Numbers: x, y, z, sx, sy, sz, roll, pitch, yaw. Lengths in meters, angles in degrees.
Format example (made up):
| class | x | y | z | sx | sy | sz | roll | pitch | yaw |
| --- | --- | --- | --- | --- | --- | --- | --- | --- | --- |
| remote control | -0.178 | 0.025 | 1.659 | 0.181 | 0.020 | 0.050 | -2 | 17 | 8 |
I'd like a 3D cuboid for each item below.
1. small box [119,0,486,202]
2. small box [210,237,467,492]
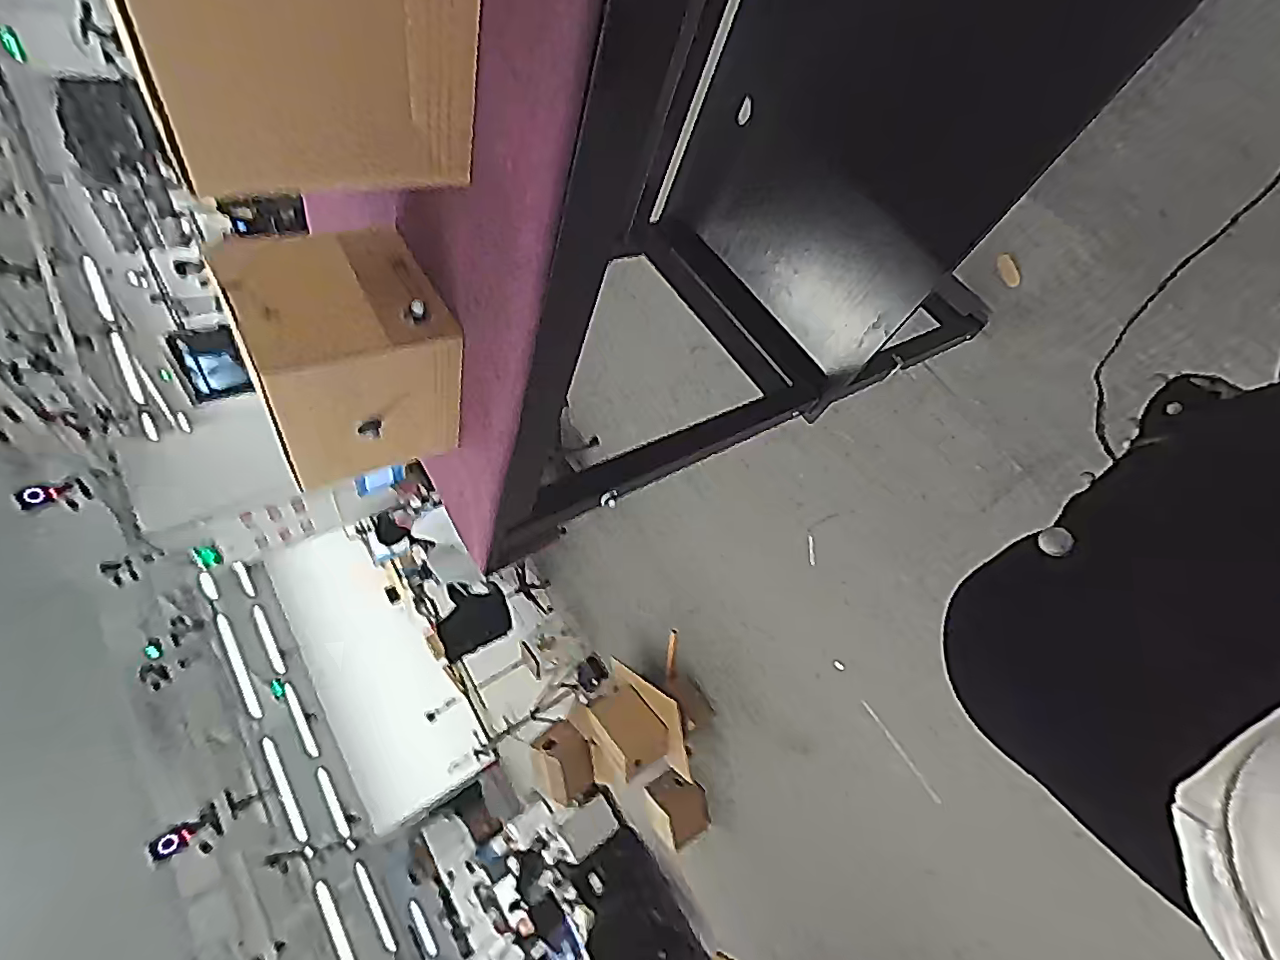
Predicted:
| class | x | y | z | sx | sy | sz | roll | pitch | yaw |
| --- | --- | --- | --- | --- | --- | --- | --- | --- | --- |
| small box | -0.200 | -0.293 | 0.311 | 0.168 | 0.176 | 0.179 | 55 | 146 | 19 |
| small box | -0.289 | -0.123 | 0.553 | 0.168 | 0.176 | 0.179 | 54 | 147 | 20 |
